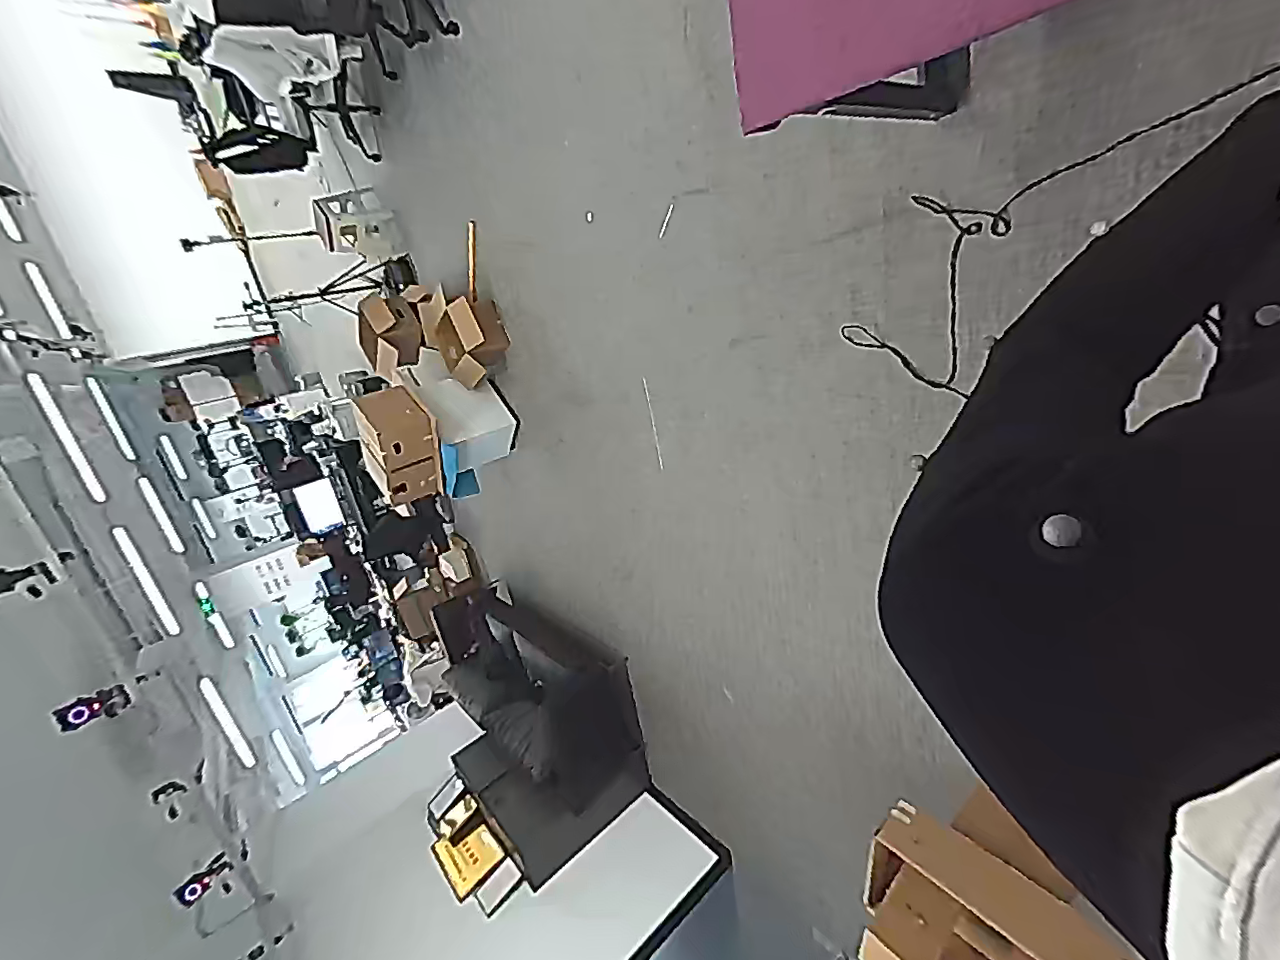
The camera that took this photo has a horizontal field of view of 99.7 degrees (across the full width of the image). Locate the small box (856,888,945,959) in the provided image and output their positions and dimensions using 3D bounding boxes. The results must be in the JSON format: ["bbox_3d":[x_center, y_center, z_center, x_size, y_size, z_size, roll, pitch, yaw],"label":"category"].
[{"bbox_3d":[0.748,1.339,1.551,0.168,0.176,0.179,24,128,42],"label":"small box"}]

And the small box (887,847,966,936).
[{"bbox_3d":[0.865,1.282,1.648,0.168,0.176,0.179,25,129,42],"label":"small box"}]
